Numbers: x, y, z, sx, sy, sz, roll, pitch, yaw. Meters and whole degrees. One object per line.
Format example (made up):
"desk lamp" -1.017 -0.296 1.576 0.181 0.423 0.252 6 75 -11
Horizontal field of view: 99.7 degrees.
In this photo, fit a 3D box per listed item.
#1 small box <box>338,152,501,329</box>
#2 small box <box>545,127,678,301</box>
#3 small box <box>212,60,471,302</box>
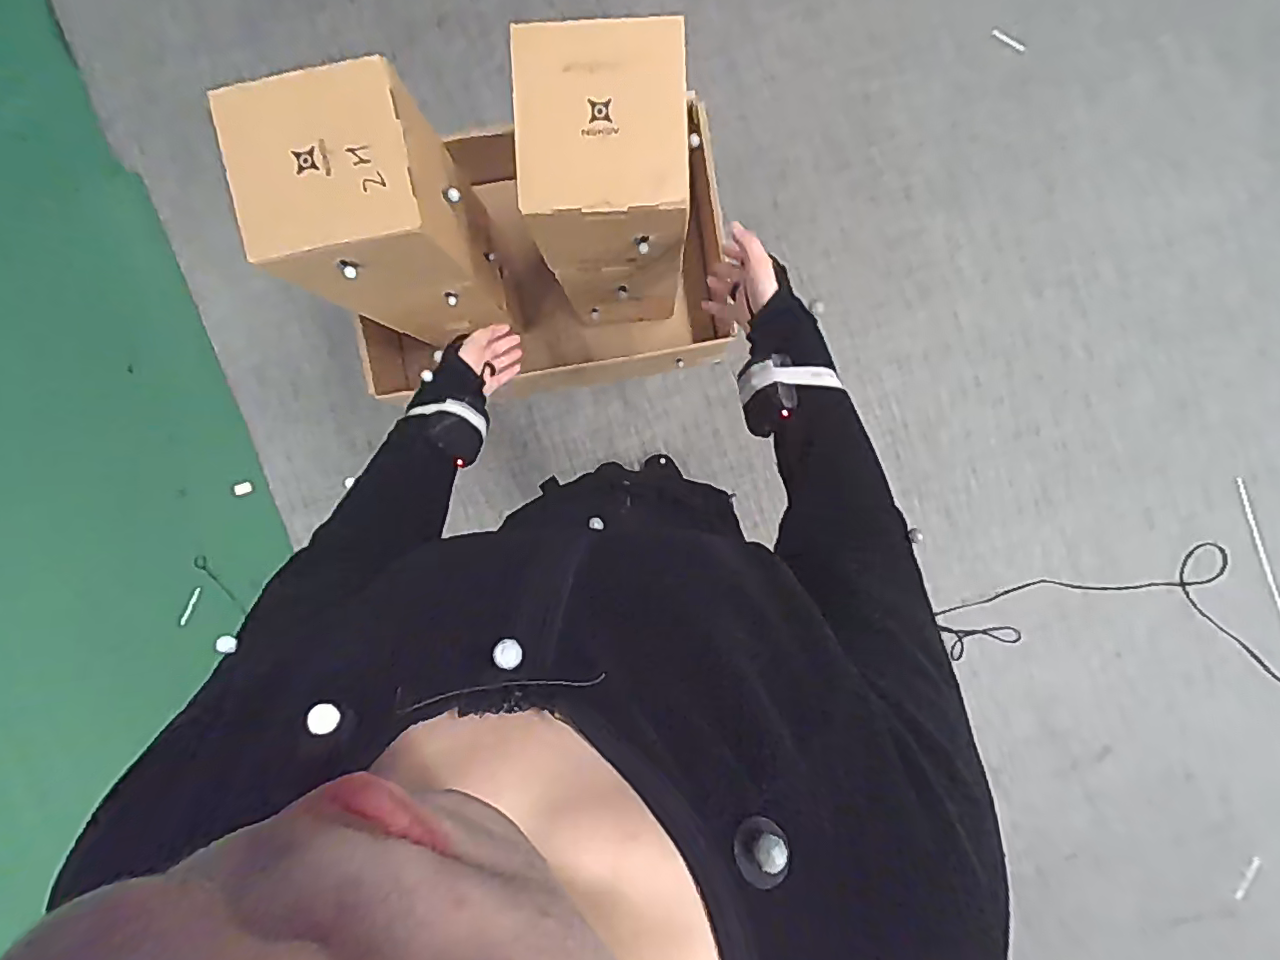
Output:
"small box" -0.313 -0.323 0.763 0.179 0.176 0.168 -10 94 -1
"small box" -0.033 -0.356 0.757 0.168 0.176 0.179 -3 94 0
"small box" -0.310 -0.310 0.598 0.179 0.176 0.168 -11 94 0
